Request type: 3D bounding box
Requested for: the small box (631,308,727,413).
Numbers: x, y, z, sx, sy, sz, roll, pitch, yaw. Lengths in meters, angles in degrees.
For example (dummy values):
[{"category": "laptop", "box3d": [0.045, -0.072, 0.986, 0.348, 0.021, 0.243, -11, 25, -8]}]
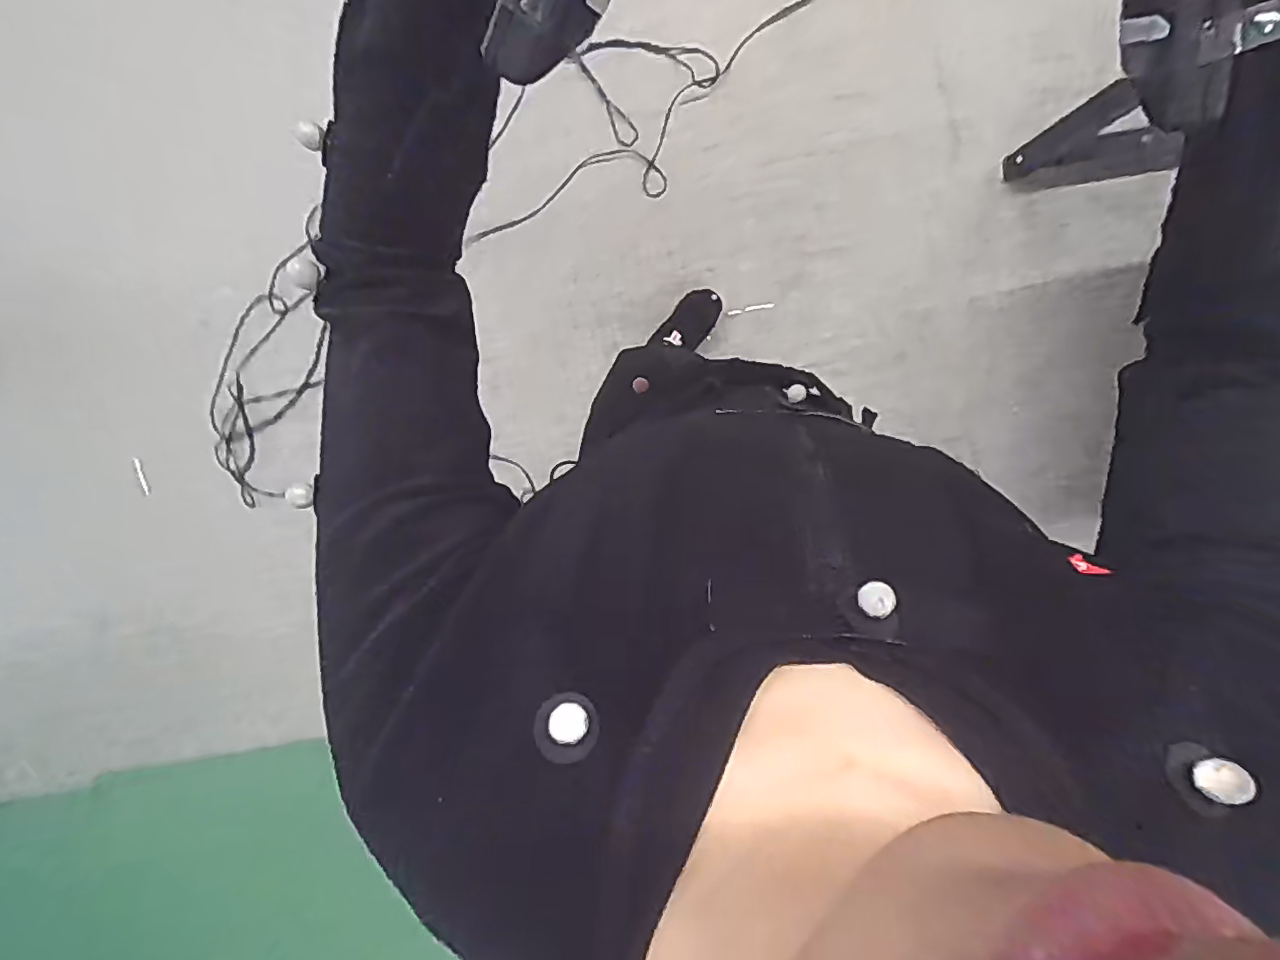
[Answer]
[{"category": "small box", "box3d": [0.101, -0.303, 1.353, 0.179, 0.176, 0.168, -31, 112, 21]}]
